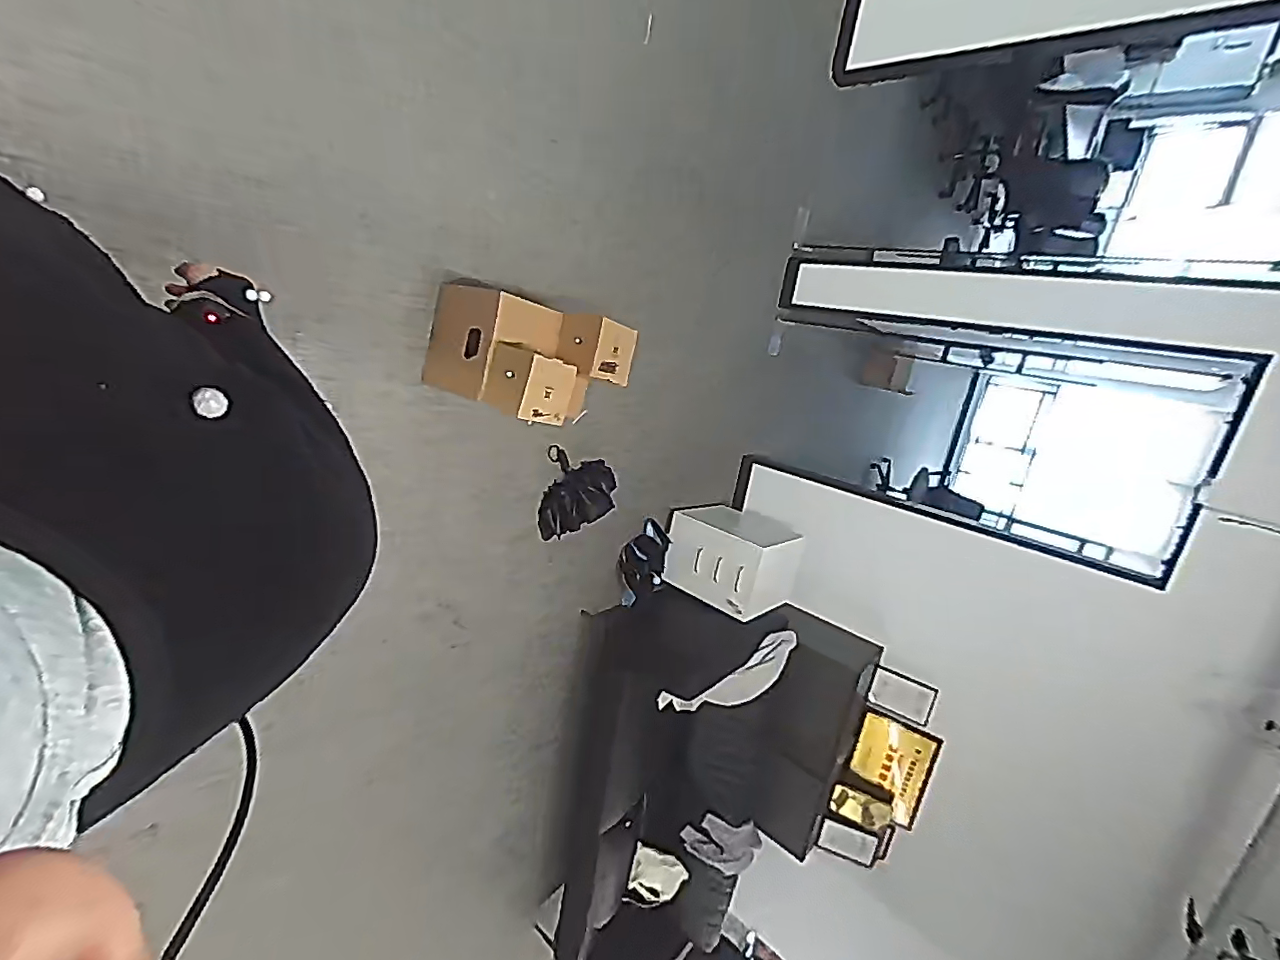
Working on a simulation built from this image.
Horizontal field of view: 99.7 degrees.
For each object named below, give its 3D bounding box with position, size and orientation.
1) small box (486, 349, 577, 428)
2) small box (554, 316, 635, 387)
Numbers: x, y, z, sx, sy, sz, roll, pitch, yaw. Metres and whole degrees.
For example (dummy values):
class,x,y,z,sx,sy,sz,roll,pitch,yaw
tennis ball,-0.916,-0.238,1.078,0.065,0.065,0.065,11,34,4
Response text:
class,x,y,z,sx,sy,sz,roll,pitch,yaw
small box,-0.306,-0.256,1.506,0.168,0.176,0.179,4,104,-54
small box,-0.142,-0.394,1.658,0.168,0.176,0.179,4,99,-53
